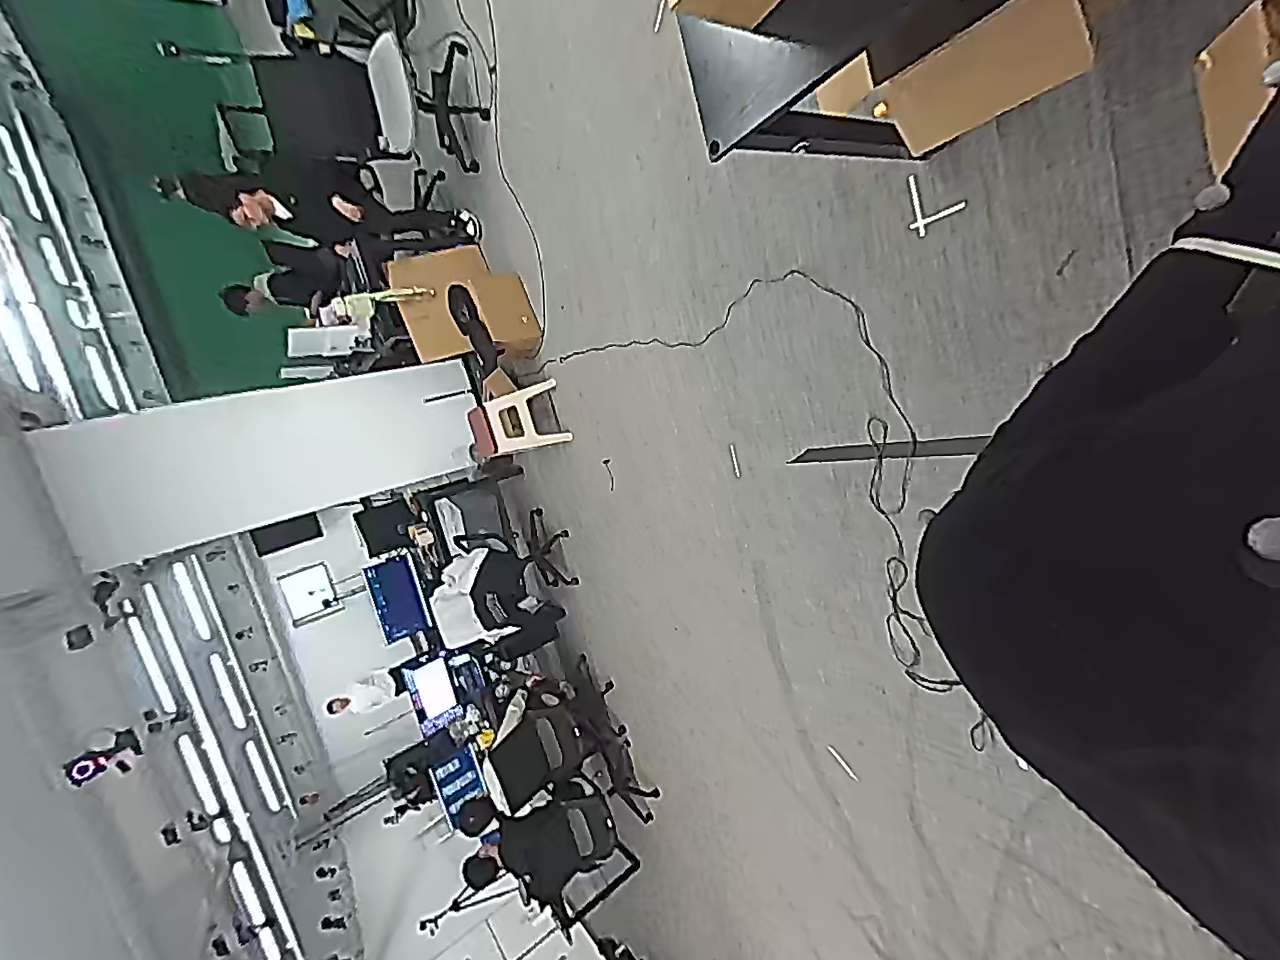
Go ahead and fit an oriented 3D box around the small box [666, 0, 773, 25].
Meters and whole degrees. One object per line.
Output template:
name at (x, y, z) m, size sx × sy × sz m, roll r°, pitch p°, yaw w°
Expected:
small box at (0.129, -0.758, 0.715) m, size 0.179 × 0.176 × 0.168 m, roll -5°, pitch 102°, yaw 56°
